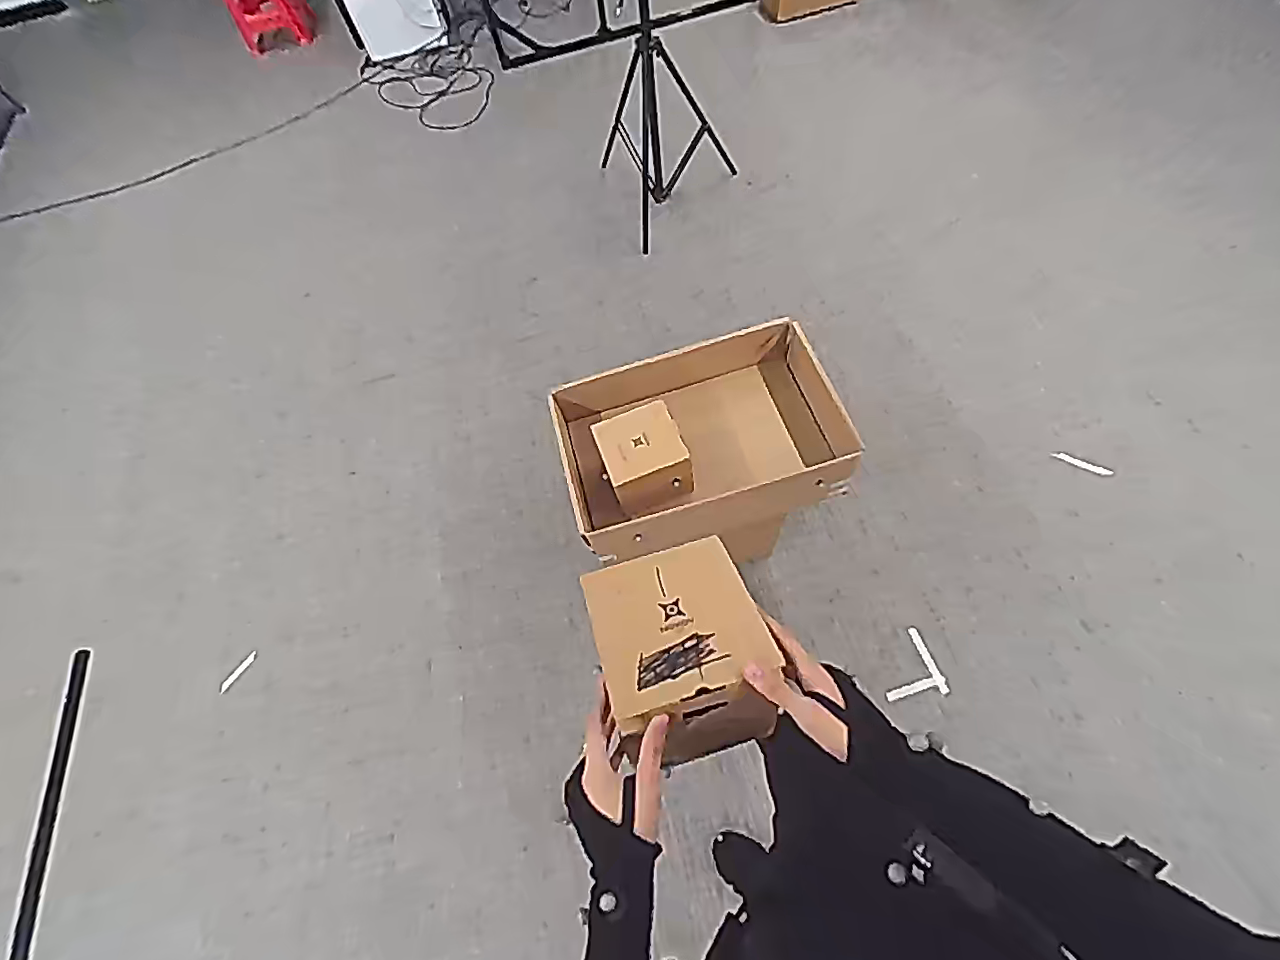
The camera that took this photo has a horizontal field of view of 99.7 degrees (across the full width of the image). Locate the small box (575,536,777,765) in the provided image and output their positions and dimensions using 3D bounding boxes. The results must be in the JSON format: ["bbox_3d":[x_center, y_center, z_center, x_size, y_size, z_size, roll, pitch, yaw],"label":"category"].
[{"bbox_3d":[0.037,0.197,0.607,0.168,0.176,0.179,-16,48,-7],"label":"small box"}]

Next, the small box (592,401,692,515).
[{"bbox_3d":[0.009,-0.044,1.221,0.179,0.176,0.168,-21,62,-2],"label":"small box"}]
